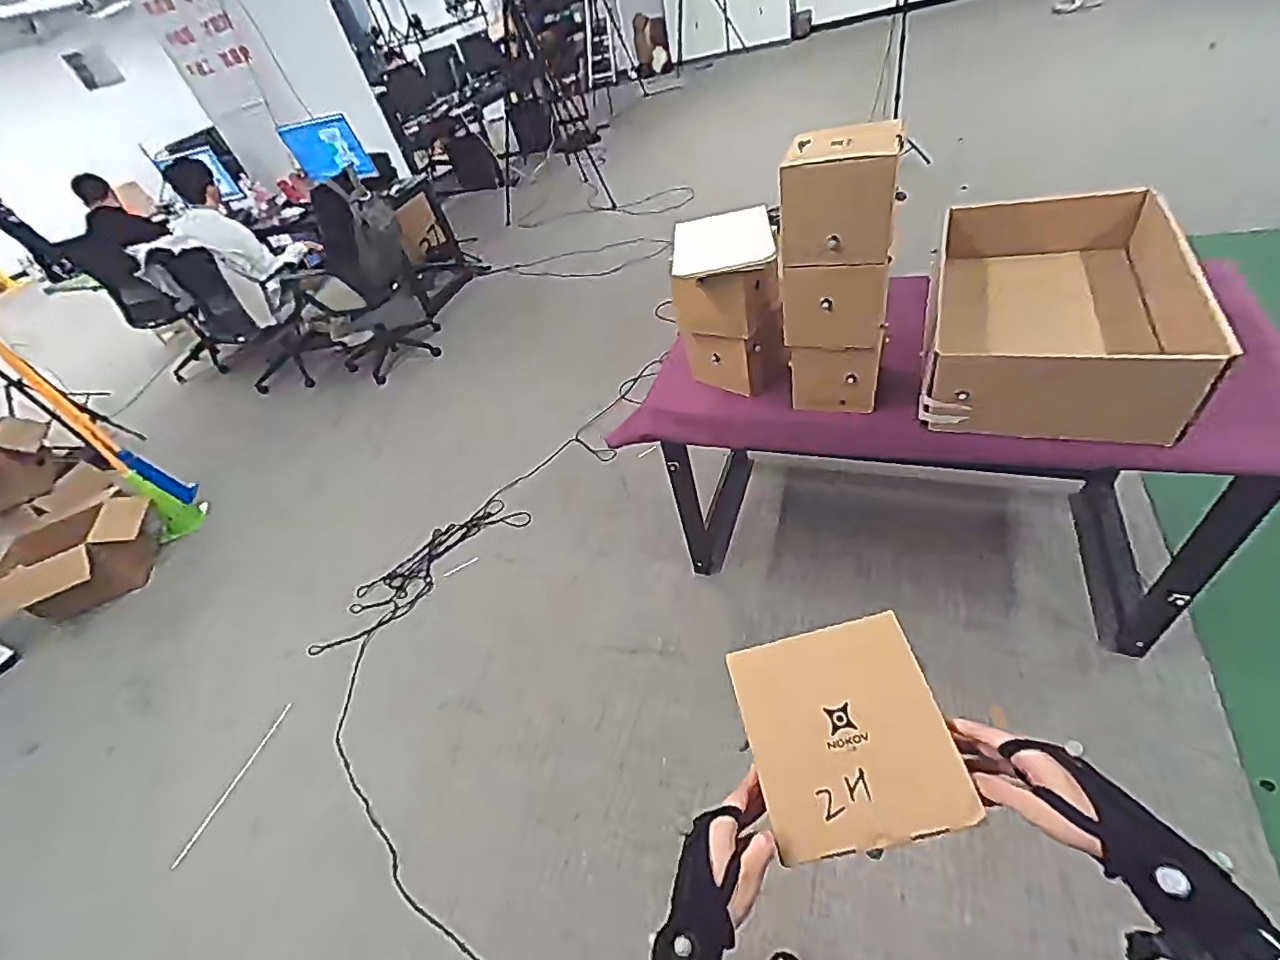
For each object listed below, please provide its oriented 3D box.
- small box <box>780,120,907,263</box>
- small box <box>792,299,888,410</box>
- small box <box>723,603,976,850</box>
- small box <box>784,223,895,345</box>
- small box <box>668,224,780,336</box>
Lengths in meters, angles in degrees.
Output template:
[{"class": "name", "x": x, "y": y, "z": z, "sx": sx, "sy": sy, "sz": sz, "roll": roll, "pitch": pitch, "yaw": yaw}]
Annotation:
[{"class": "small box", "x": 0.346, "y": -0.487, "z": 0.927, "sx": 0.179, "sy": 0.176, "sz": 0.168, "roll": 8, "pitch": 48, "yaw": 23}, {"class": "small box", "x": 0.428, "y": -0.267, "z": 1.156, "sx": 0.168, "sy": 0.176, "sz": 0.179, "roll": 8, "pitch": 48, "yaw": 24}, {"class": "small box", "x": 0.190, "y": 0.247, "z": 0.541, "sx": 0.168, "sy": 0.176, "sz": 0.179, "roll": -17, "pitch": 58, "yaw": 7}, {"class": "small box", "x": 0.381, "y": -0.373, "z": 1.040, "sx": 0.179, "sy": 0.176, "sz": 0.168, "roll": 7, "pitch": 48, "yaw": 23}, {"class": "small box", "x": 0.189, "y": -0.428, "z": 1.160, "sx": 0.179, "sy": 0.176, "sz": 0.168, "roll": 17, "pitch": 54, "yaw": 32}]
